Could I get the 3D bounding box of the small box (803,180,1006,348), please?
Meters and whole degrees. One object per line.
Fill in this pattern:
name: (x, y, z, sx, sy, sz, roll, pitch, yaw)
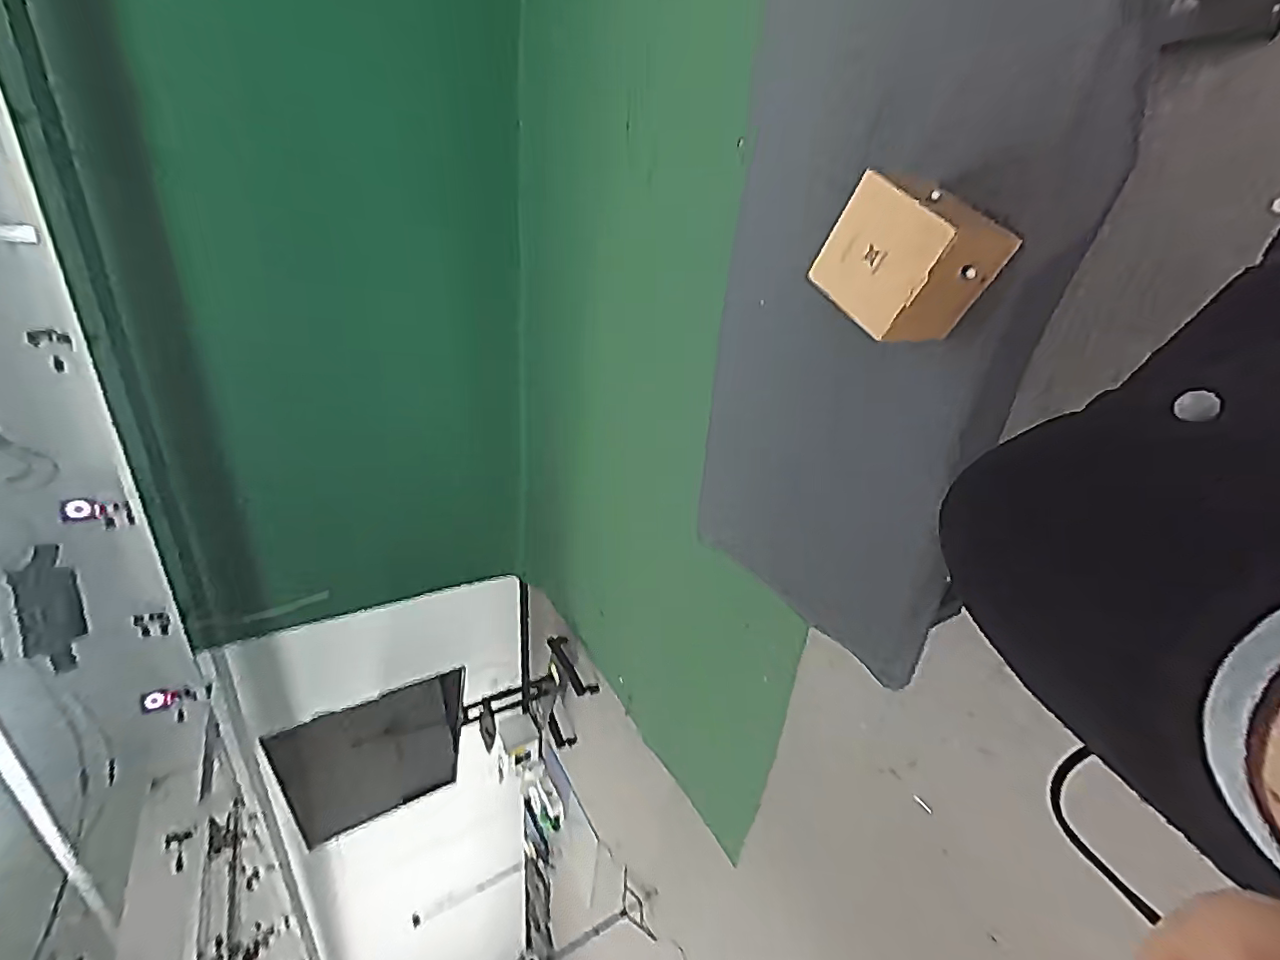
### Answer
small box: (0.392, -0.319, 0.809, 0.179, 0.176, 0.168, 59, 142, 32)
